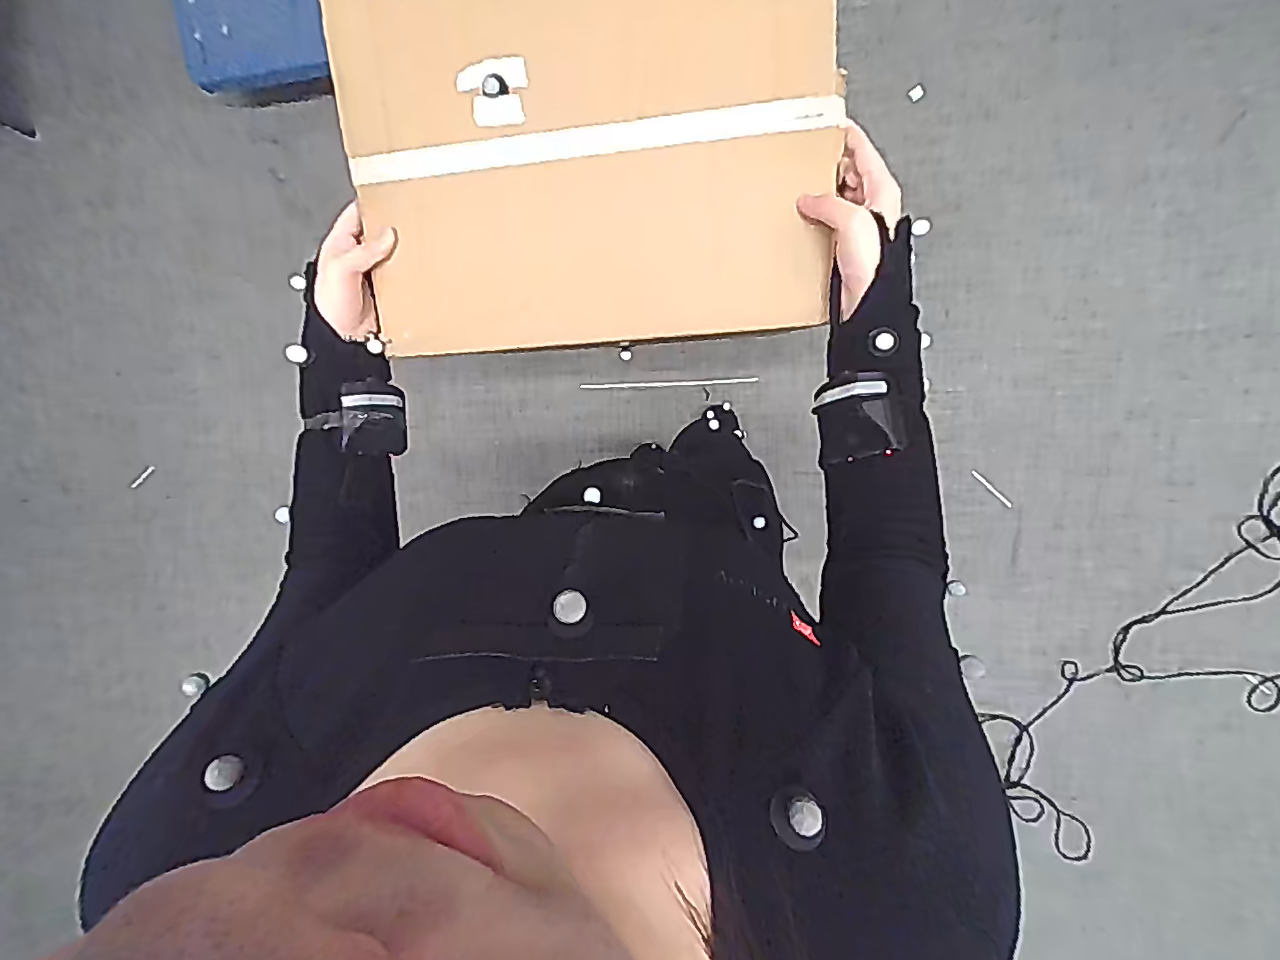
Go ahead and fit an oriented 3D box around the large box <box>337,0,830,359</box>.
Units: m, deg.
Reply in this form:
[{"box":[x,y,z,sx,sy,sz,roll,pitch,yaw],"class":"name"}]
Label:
[{"box":[-0.026,-0.315,0.601,0.408,0.320,0.320,-3,103,8],"class":"large box"}]
